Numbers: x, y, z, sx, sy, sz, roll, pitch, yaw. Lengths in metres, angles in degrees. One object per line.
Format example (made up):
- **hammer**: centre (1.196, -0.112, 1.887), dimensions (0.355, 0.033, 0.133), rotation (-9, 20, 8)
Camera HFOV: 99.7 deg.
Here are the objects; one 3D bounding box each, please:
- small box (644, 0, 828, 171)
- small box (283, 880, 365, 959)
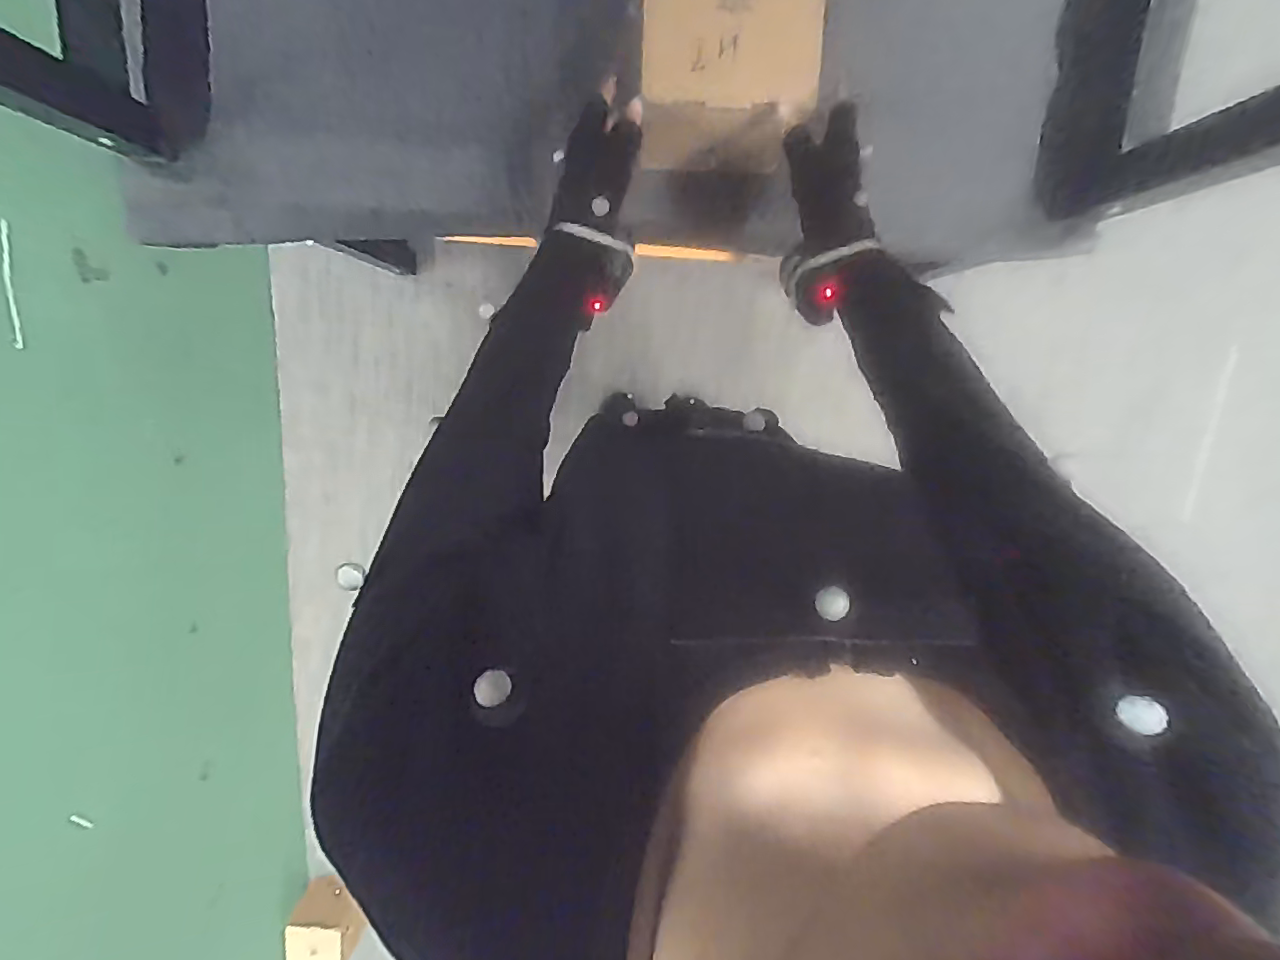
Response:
- **small box**: centre (0.090, -0.456, 0.572), dimensions (0.168, 0.176, 0.179), rotation (1, 100, -1)
- **small box**: centre (-0.970, 1.391, 1.672), dimensions (0.168, 0.176, 0.179), rotation (5, 100, -2)
